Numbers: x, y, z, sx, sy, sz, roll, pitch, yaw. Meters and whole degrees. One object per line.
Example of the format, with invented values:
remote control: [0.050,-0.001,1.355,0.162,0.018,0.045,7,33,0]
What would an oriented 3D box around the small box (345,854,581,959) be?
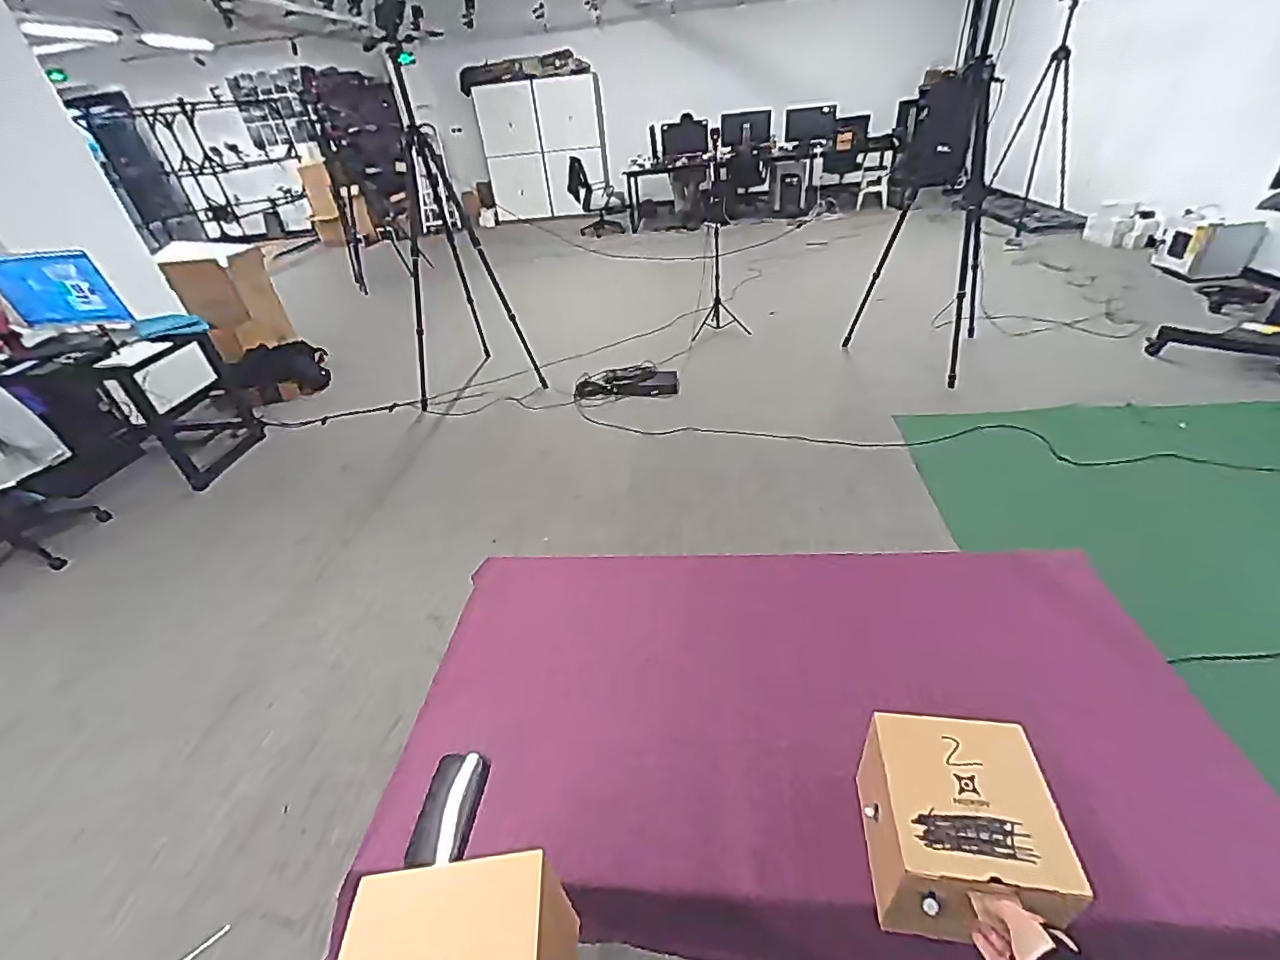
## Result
small box: [-0.144,0.455,0.453,0.168,0.176,0.179,-8,35,0]
